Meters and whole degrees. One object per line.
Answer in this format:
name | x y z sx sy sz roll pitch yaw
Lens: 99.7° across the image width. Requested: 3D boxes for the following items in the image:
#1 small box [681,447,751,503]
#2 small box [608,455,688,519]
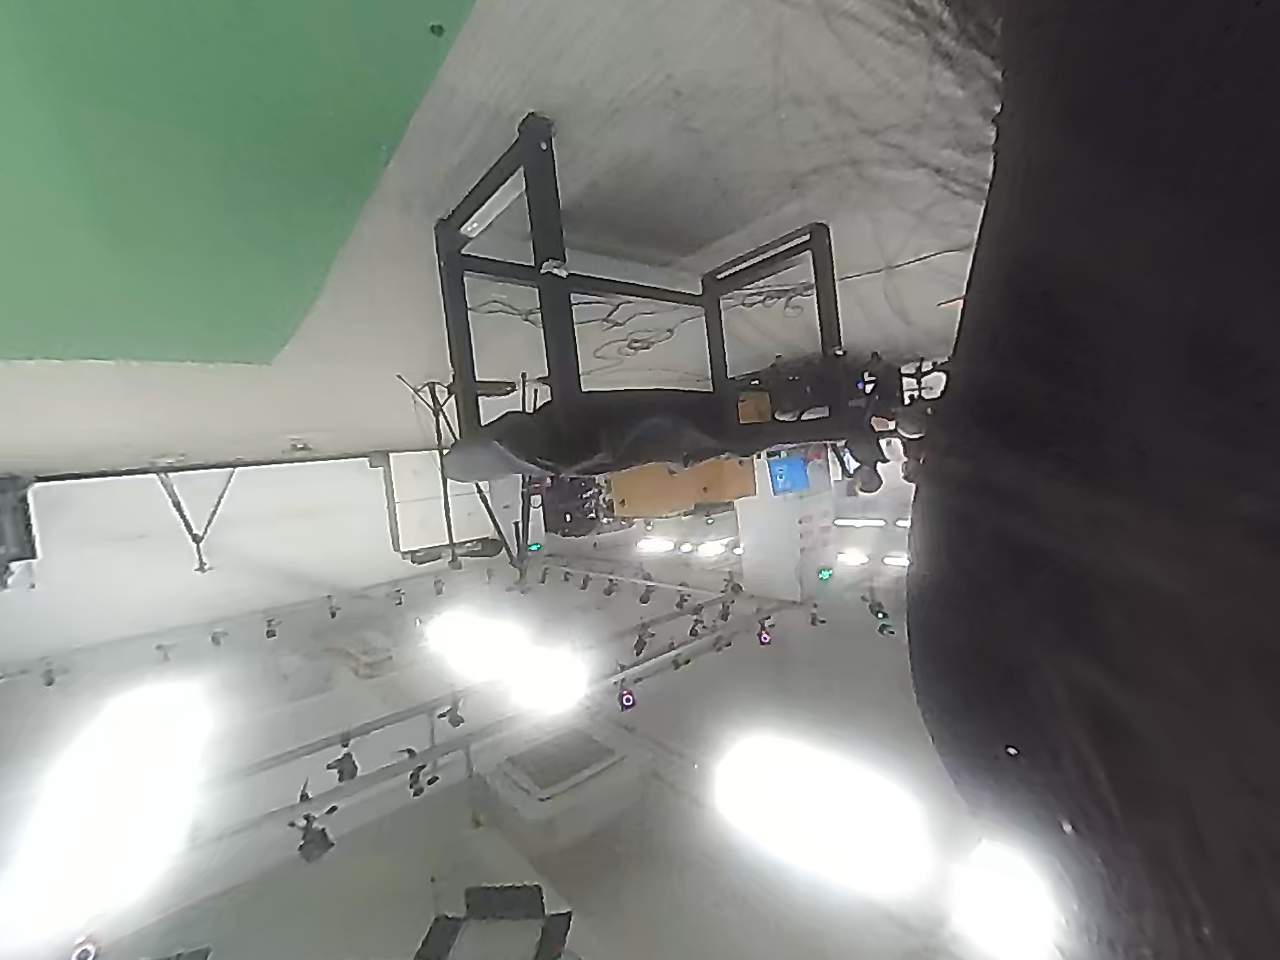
small box | 0.241 -0.017 1.774 0.168 0.176 0.179 -8 -178 -42
small box | 0.019 0.017 1.578 0.168 0.176 0.179 -9 -177 -42
